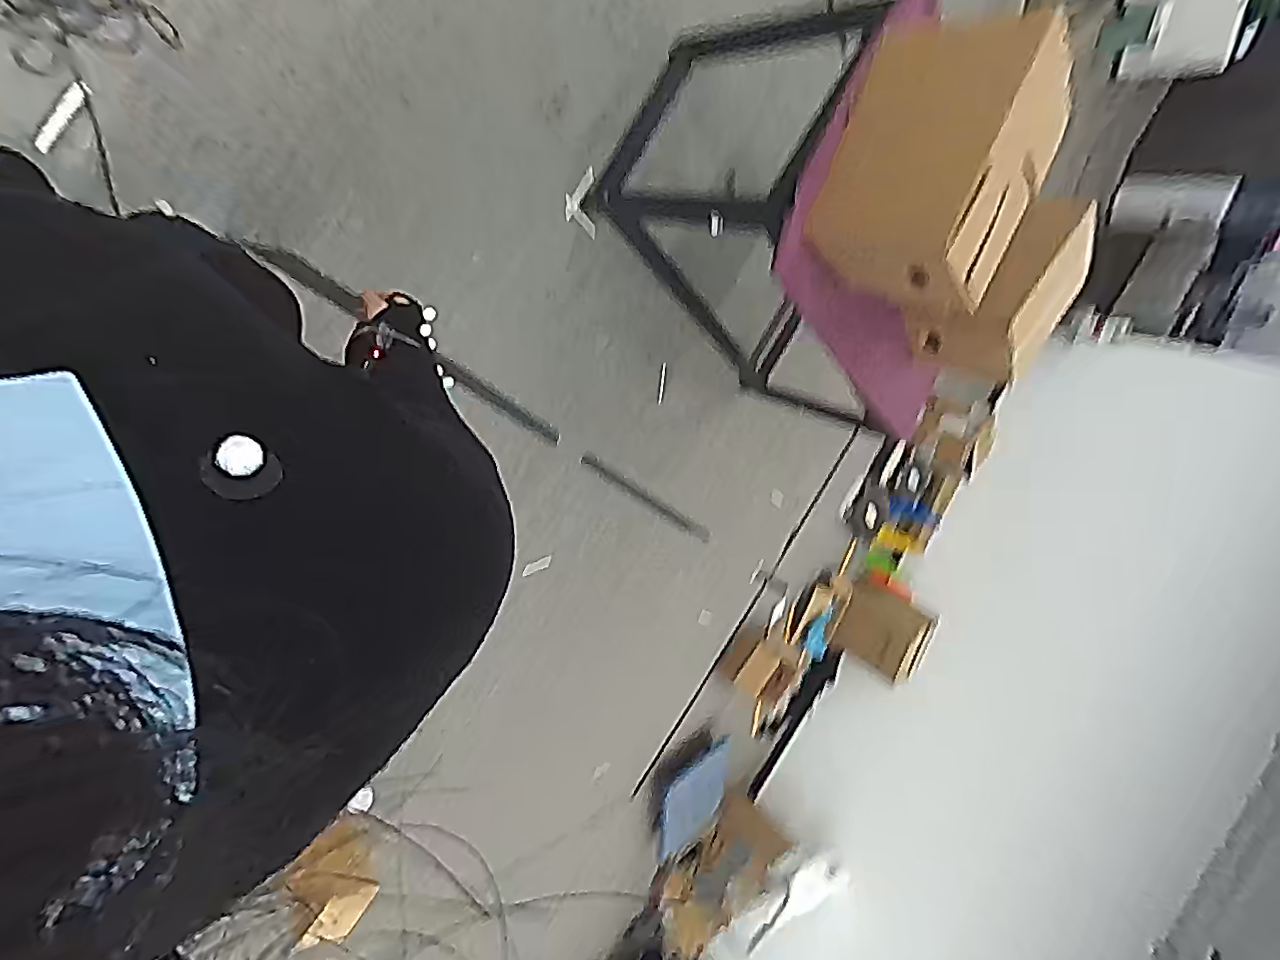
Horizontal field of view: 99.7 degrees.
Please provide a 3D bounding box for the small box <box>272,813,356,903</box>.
[{"bbox_3d":[-1.092,1.246,1.803,0.168,0.176,0.179,30,91,-49],"label":"small box"}]

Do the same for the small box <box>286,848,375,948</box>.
[{"bbox_3d":[-0.980,1.307,1.702,0.179,0.176,0.168,-56,139,-5],"label":"small box"}]
